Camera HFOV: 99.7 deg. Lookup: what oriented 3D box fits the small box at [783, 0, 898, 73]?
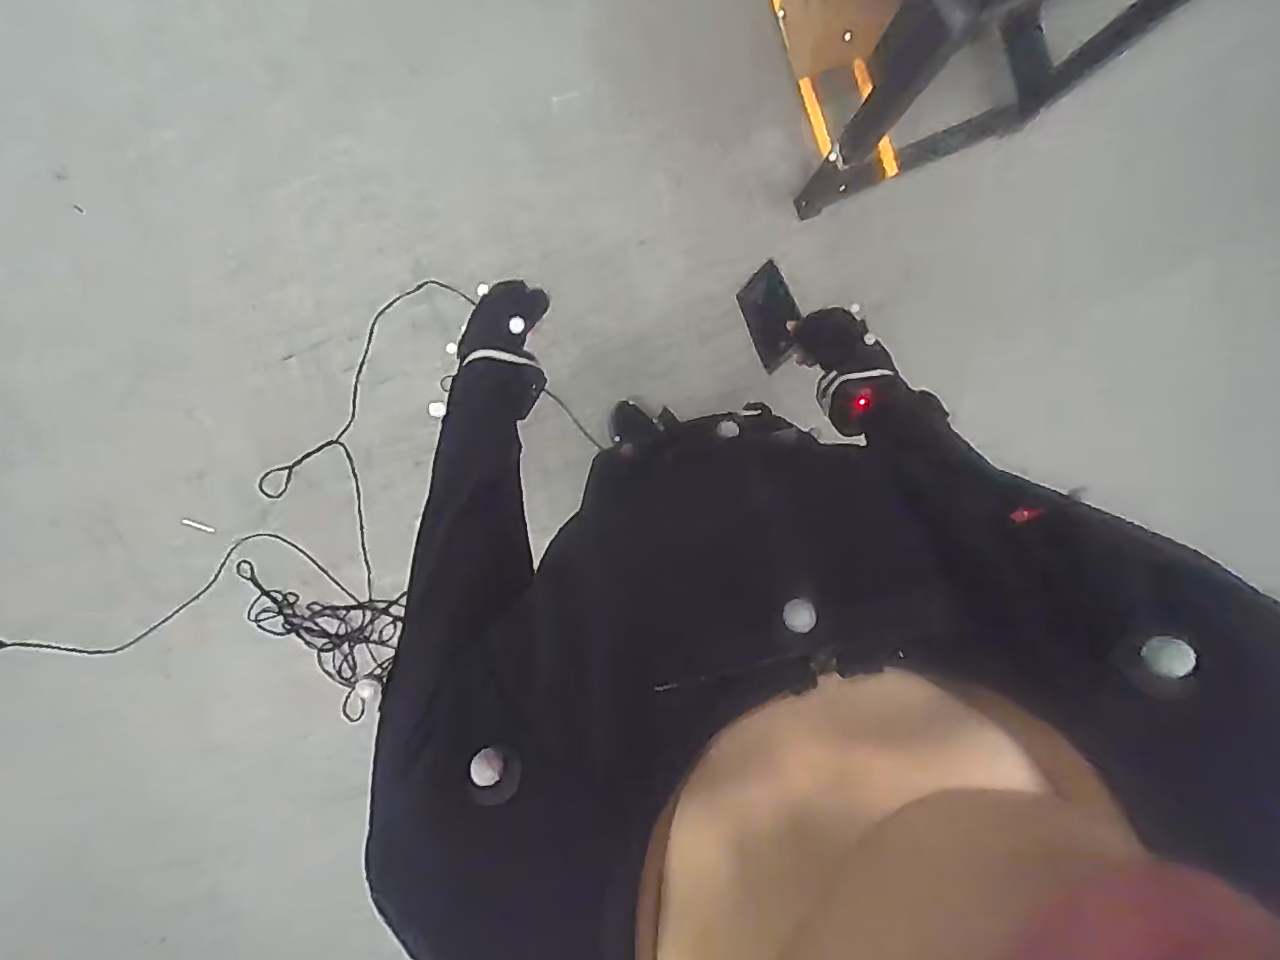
[{"bbox_3d":[0.412,-1.007,1.136,0.179,0.176,0.168,-17,97,4],"label":"small box"}]
